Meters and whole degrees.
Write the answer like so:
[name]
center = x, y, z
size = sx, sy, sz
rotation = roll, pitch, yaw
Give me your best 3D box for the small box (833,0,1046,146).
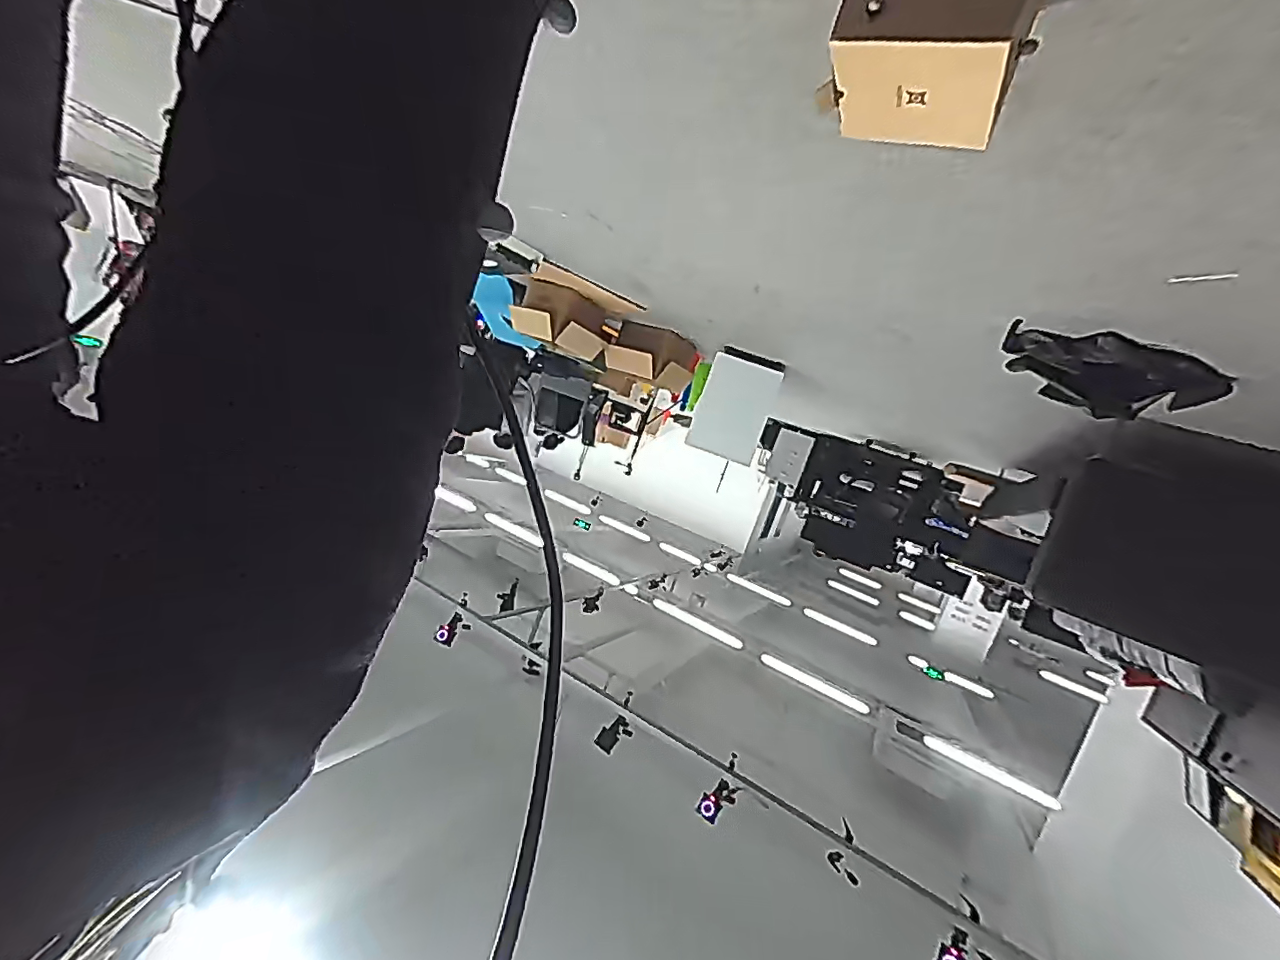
[small box]
center = 0.335, -0.505, 0.593
size = 0.179, 0.176, 0.168
rotation = 23, -173, 25
